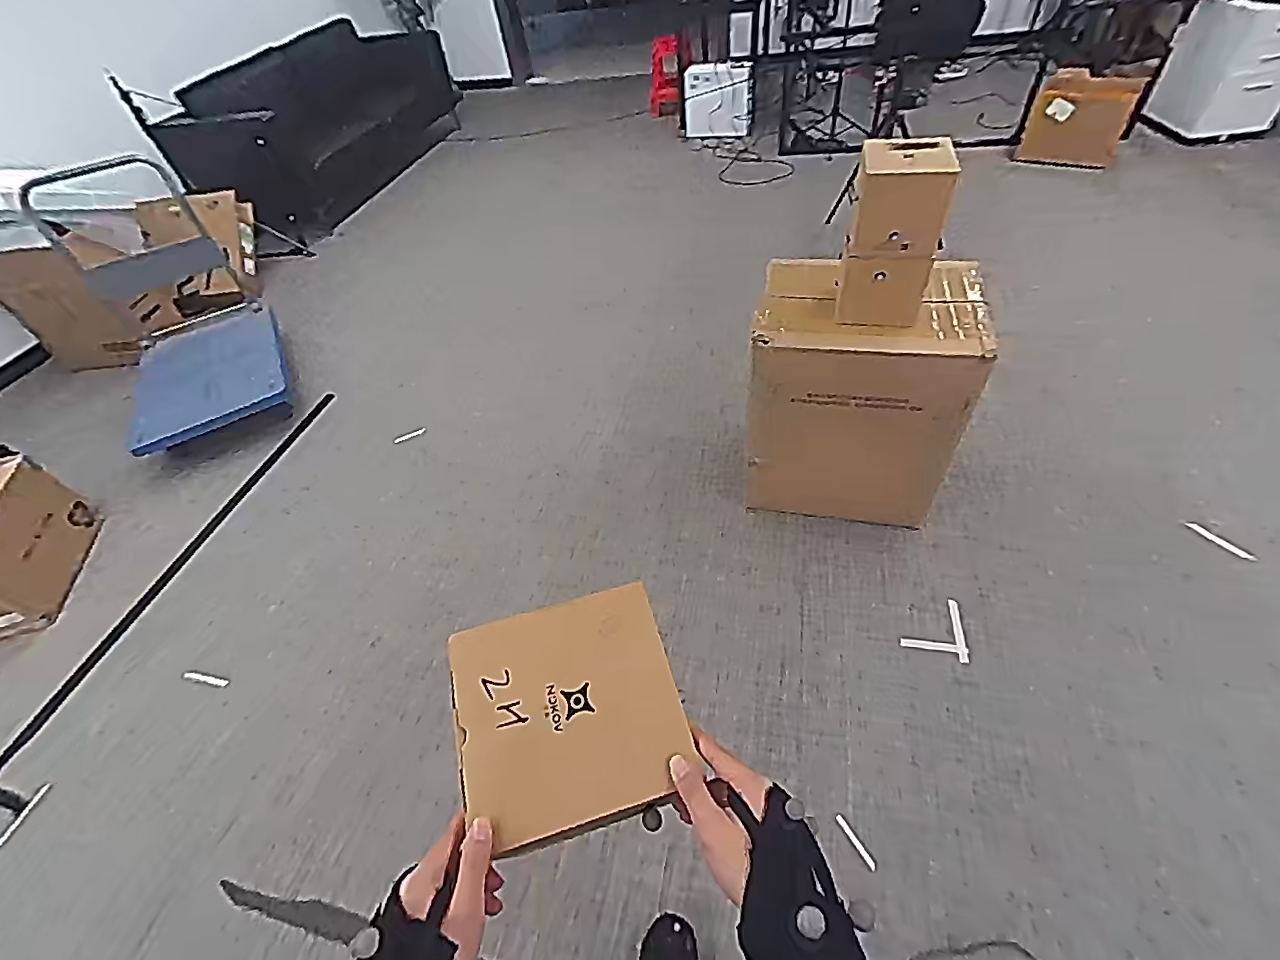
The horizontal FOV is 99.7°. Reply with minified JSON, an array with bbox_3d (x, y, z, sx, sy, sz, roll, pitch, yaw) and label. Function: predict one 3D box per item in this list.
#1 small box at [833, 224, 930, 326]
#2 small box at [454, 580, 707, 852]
[{"bbox_3d":[0.548,-0.472,1.250,0.179,0.176,0.168,7,50,14],"label":"small box"},{"bbox_3d":[-0.054,0.216,0.494,0.179,0.176,0.168,-14,57,-8],"label":"small box"}]
